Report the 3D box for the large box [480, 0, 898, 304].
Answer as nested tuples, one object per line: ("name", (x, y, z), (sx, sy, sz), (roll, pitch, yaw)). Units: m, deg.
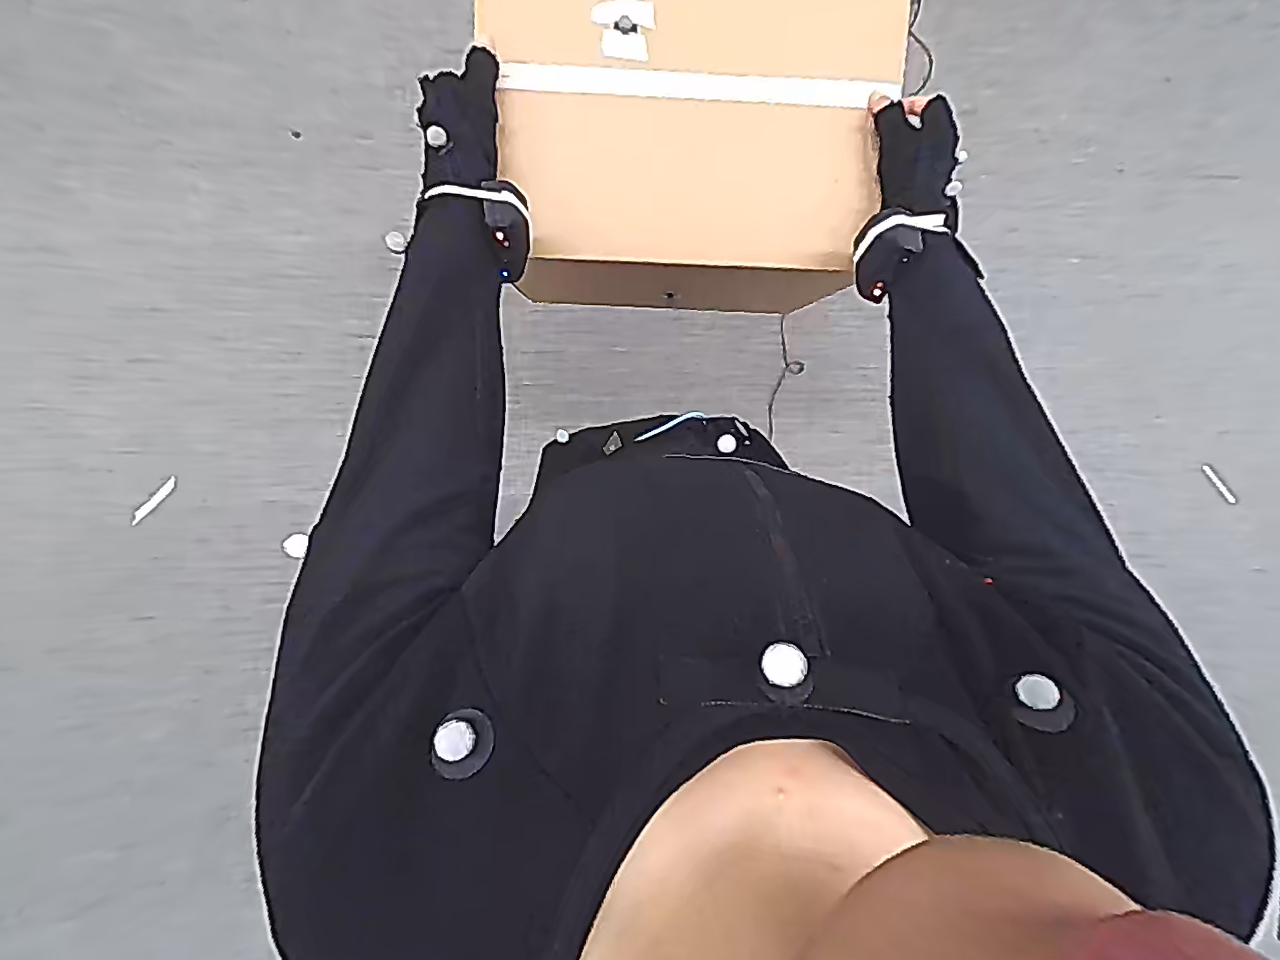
("large box", (0.043, -0.399, 0.669), (0.408, 0.320, 0.320), (2, 99, -2))
